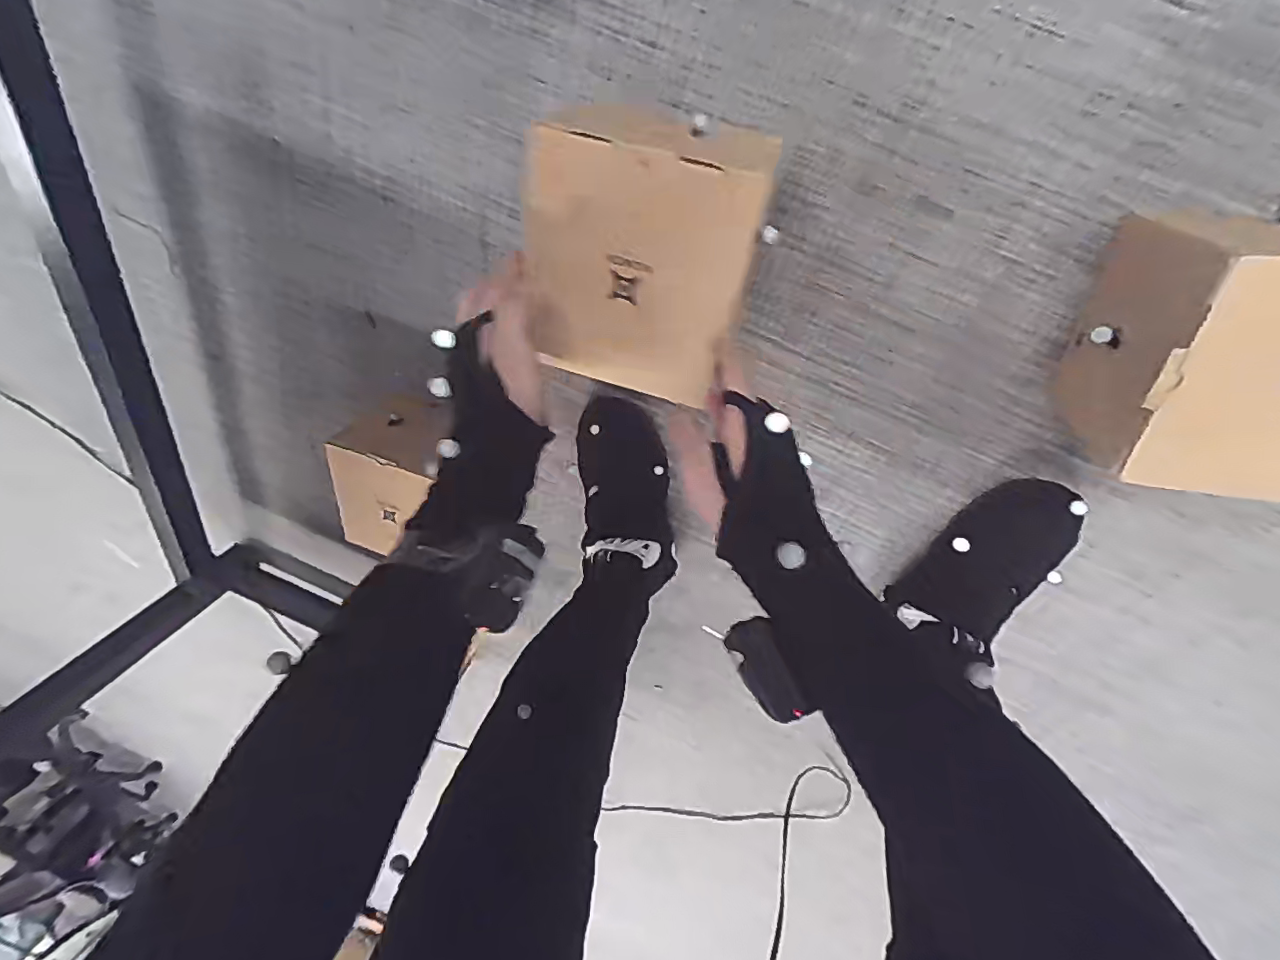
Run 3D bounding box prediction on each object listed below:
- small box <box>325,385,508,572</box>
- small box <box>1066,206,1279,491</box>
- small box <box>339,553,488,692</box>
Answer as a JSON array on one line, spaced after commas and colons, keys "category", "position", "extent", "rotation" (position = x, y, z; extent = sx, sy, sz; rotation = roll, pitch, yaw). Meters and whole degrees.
[{"category": "small box", "position": [-0.297, -0.010, 0.756], "extent": [0.168, 0.176, 0.179], "rotation": [19, 128, 9]}, {"category": "small box", "position": [0.470, -0.104, 0.408], "extent": [0.179, 0.176, 0.168], "rotation": [10, 125, 15]}, {"category": "small box", "position": [-0.380, 0.230, 0.946], "extent": [0.179, 0.176, 0.168], "rotation": [17, 127, 9]}]
